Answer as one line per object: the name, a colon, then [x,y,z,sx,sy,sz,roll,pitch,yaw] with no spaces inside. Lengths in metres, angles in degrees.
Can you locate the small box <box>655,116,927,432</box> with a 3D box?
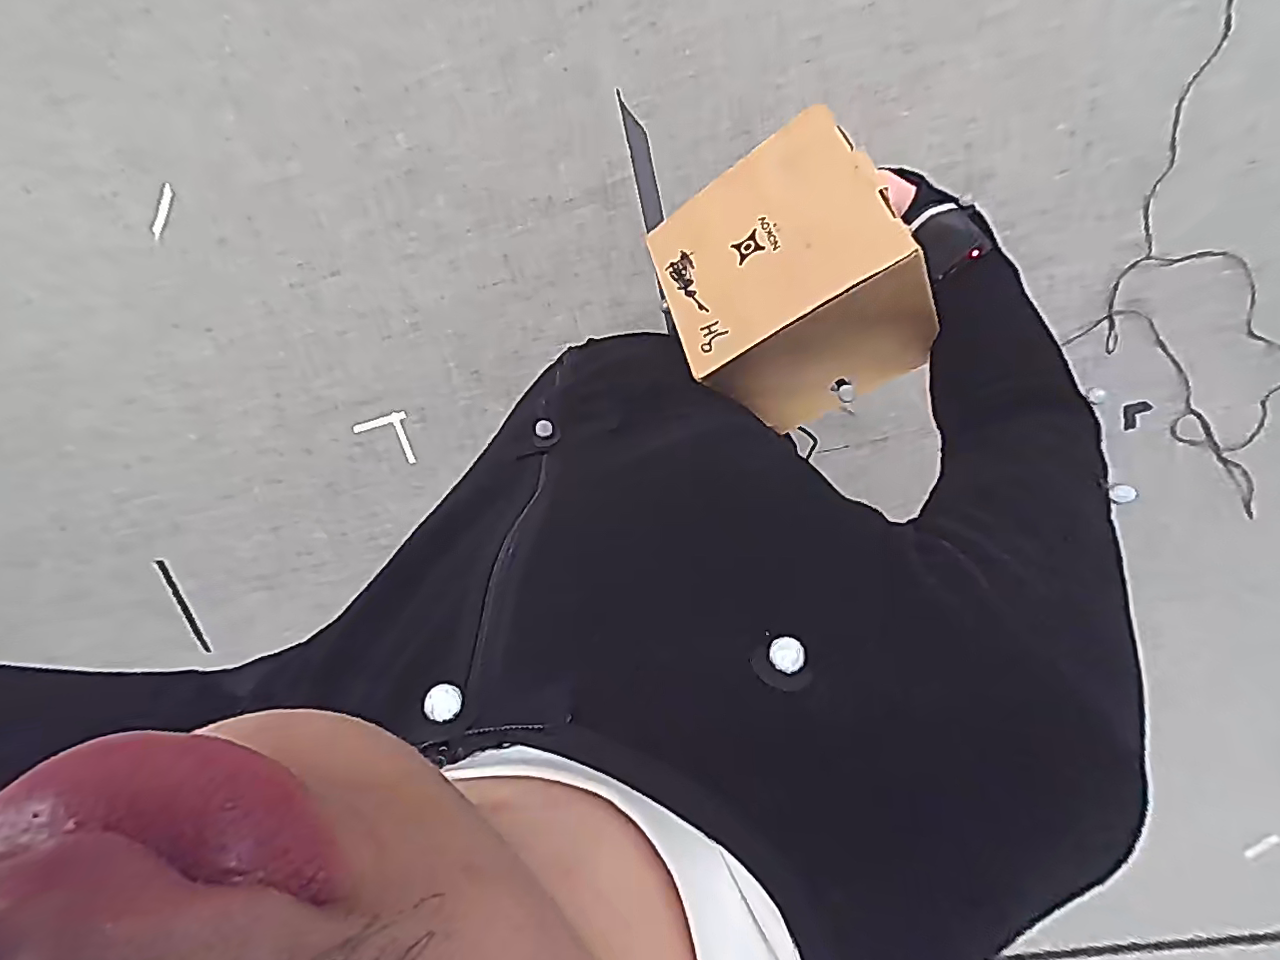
small box: [0.145,-0.169,0.501,0.179,0.176,0.168,-27,62,25]
